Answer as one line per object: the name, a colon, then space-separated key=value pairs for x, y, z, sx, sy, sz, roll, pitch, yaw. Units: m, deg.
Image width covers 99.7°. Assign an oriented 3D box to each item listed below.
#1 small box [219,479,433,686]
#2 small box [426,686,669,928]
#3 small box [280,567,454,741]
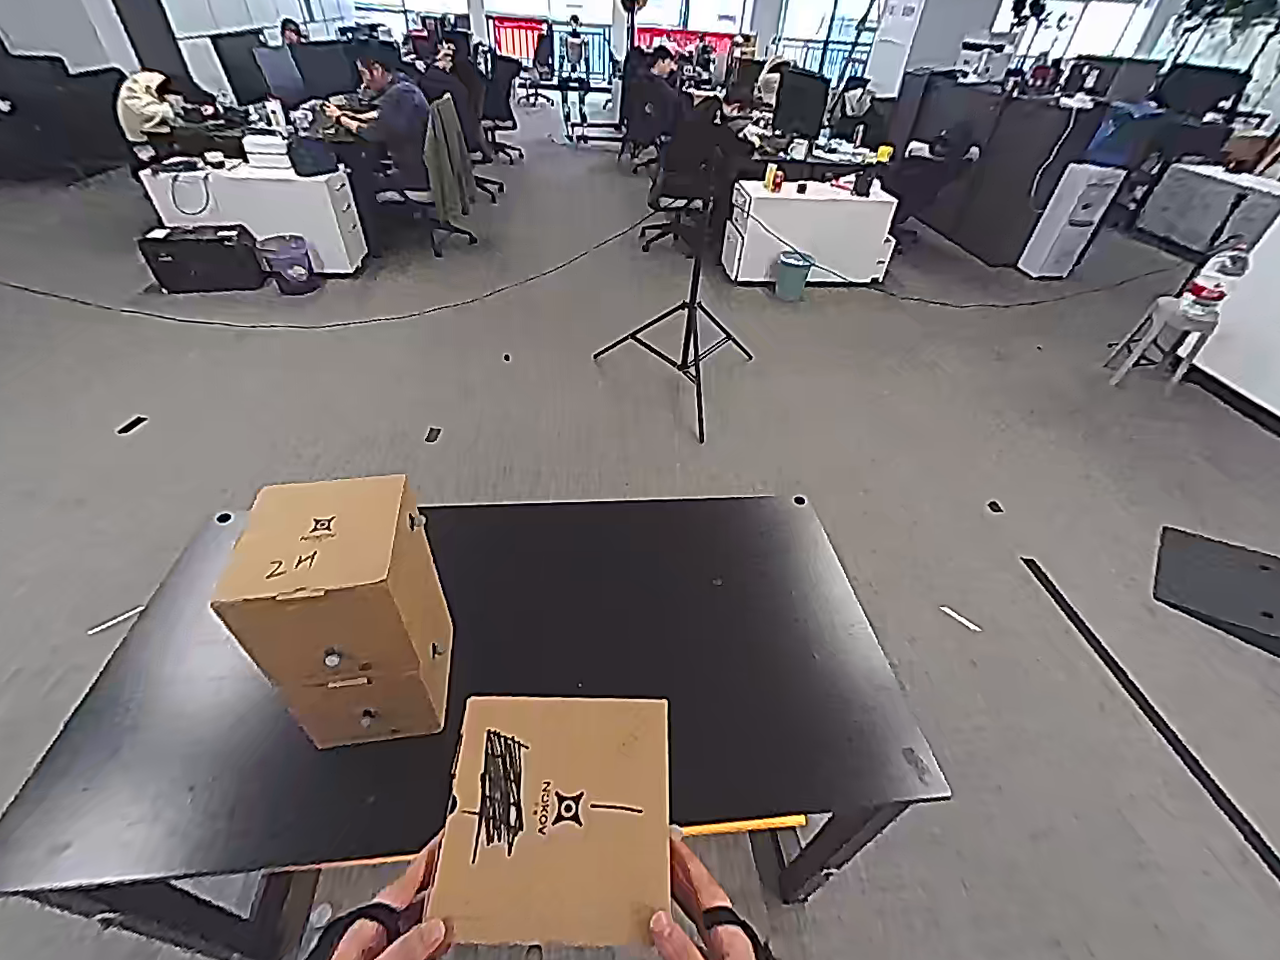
small box: x=-0.359 y=0.122 z=0.662 sx=0.168 sy=0.176 sz=0.179 roll=-6 pitch=42 yaw=-10
small box: x=-0.064 y=0.299 z=0.492 sx=0.179 sy=0.176 sz=0.168 roll=1 pitch=52 yaw=0
small box: x=-0.367 y=0.249 z=0.768 sx=0.168 sy=0.176 sz=0.179 roll=-5 pitch=42 yaw=-9
